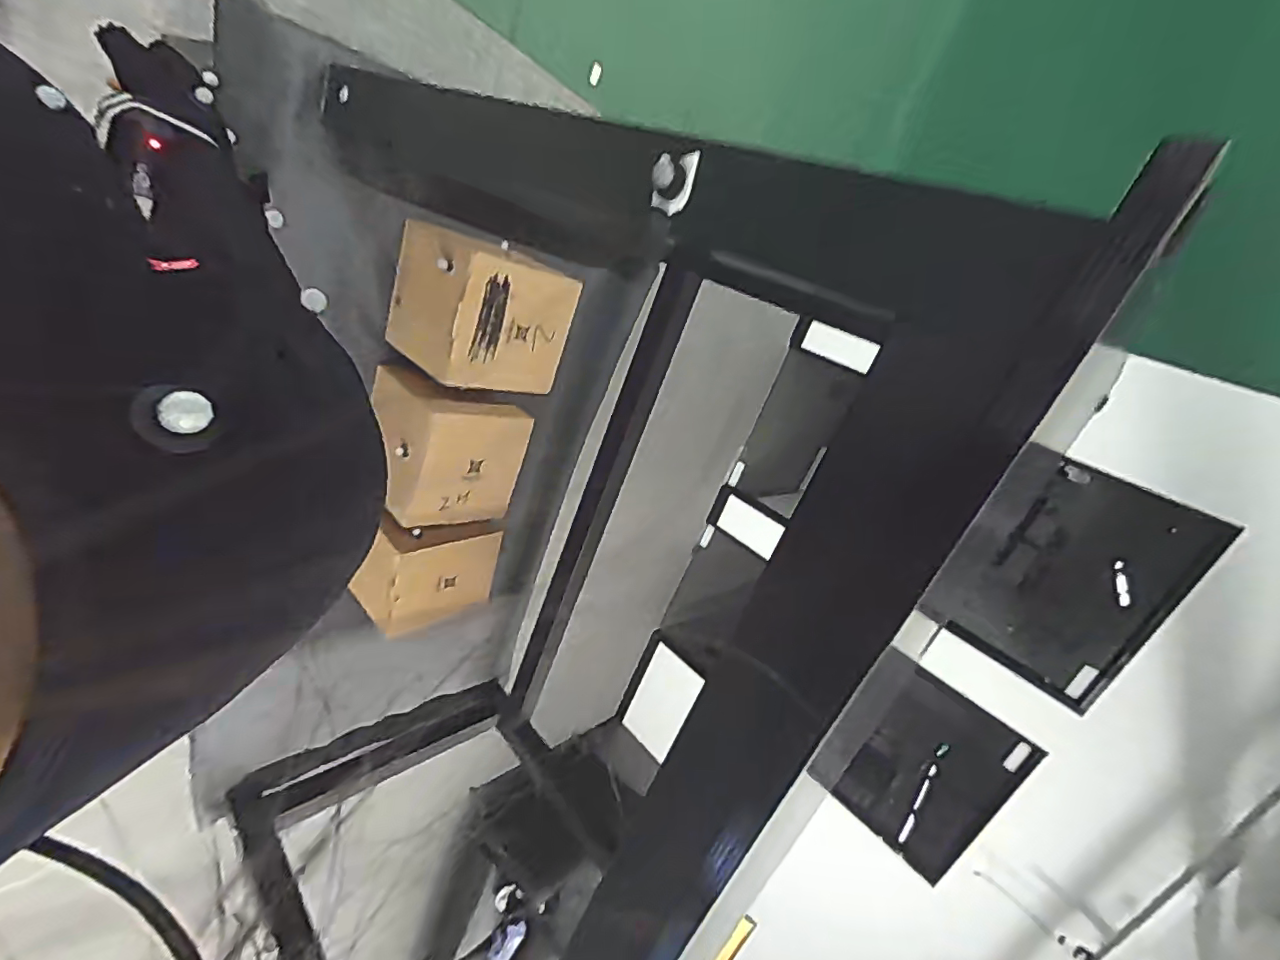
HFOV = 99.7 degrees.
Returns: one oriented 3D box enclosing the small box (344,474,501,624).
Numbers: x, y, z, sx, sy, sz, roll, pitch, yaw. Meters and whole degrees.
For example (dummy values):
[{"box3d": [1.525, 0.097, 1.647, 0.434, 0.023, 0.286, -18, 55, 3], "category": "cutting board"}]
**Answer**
[{"box3d": [-0.364, 0.103, 0.904, 0.179, 0.176, 0.168, -11, 128, -47], "category": "small box"}]
